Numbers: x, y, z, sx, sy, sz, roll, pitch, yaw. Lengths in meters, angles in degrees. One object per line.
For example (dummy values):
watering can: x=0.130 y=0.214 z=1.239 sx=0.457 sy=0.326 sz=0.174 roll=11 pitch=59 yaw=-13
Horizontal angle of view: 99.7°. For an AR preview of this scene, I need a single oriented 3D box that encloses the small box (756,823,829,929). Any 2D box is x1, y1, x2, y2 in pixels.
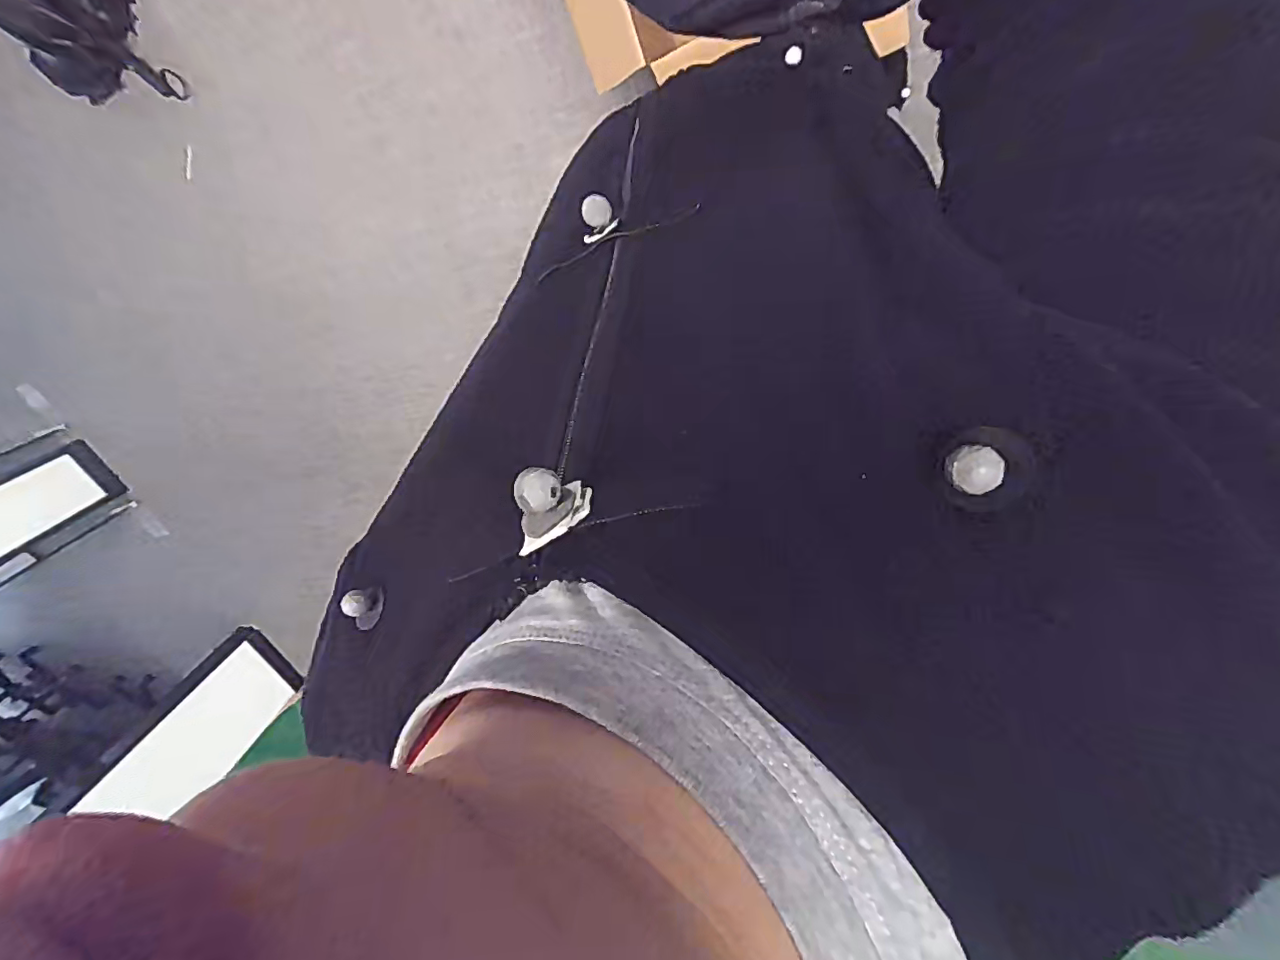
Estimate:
small box: x=0.400 y=1.031 z=1.417 sx=0.168 sy=0.176 sz=0.179 roll=-6 pitch=123 yaw=20
